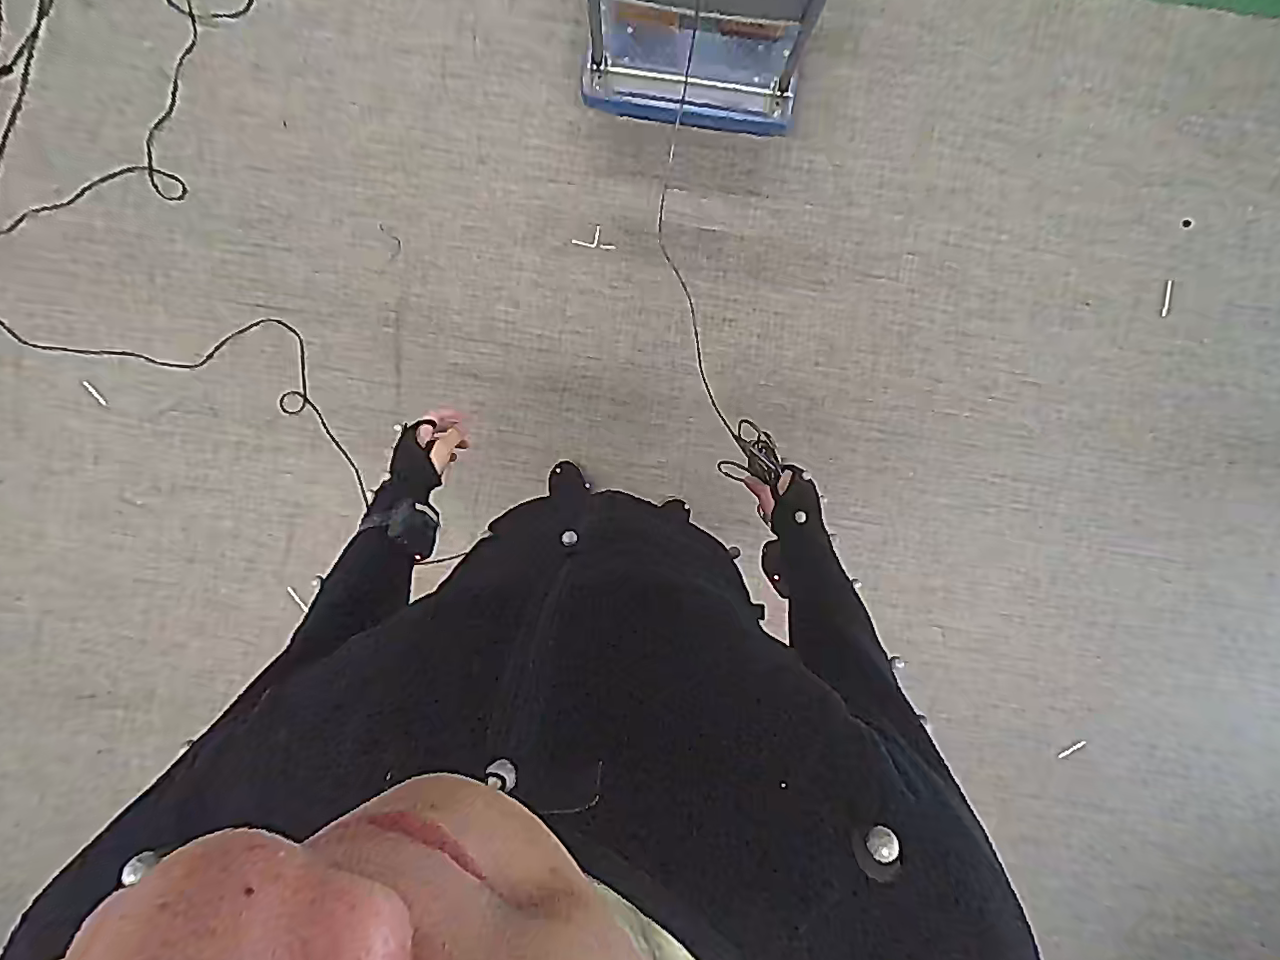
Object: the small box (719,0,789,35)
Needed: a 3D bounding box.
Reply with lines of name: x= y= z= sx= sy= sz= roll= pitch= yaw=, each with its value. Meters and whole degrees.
small box: x=0.298 y=-1.272 z=1.345 sx=0.168 sy=0.176 sz=0.179 roll=9 pitch=93 yaw=-1
